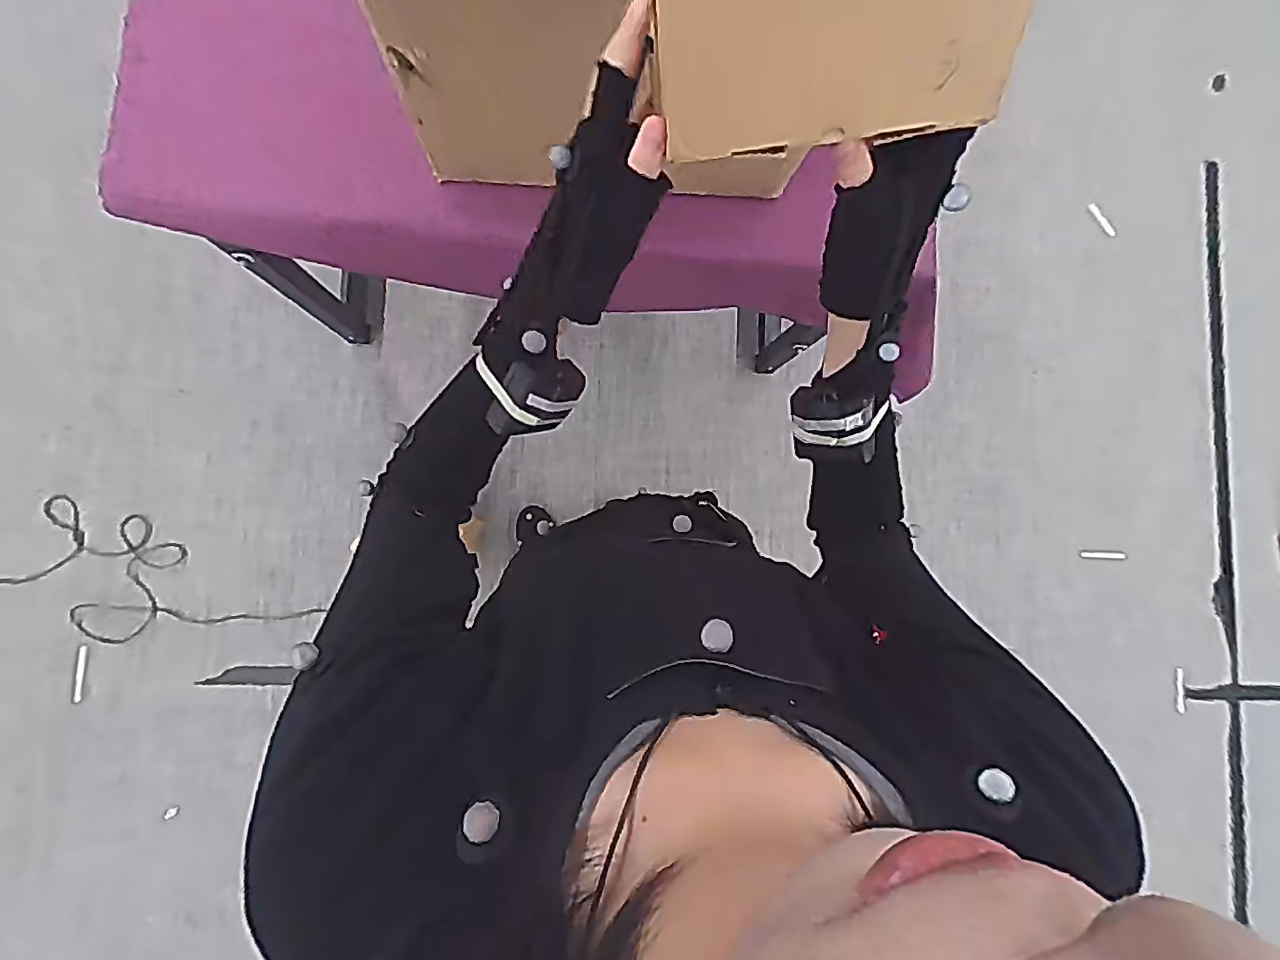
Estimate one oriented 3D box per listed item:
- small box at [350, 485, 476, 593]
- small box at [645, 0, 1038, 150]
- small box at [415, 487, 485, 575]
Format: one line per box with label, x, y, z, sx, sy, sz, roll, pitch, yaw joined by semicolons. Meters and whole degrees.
small box;-0.498;0.130;1.215;0.179;0.176;0.168;36;84;-3
small box;0.084;-0.290;0.264;0.168;0.179;0.176;-7;44;3
small box;-0.521;0.135;1.377;0.179;0.176;0.168;34;84;-5
